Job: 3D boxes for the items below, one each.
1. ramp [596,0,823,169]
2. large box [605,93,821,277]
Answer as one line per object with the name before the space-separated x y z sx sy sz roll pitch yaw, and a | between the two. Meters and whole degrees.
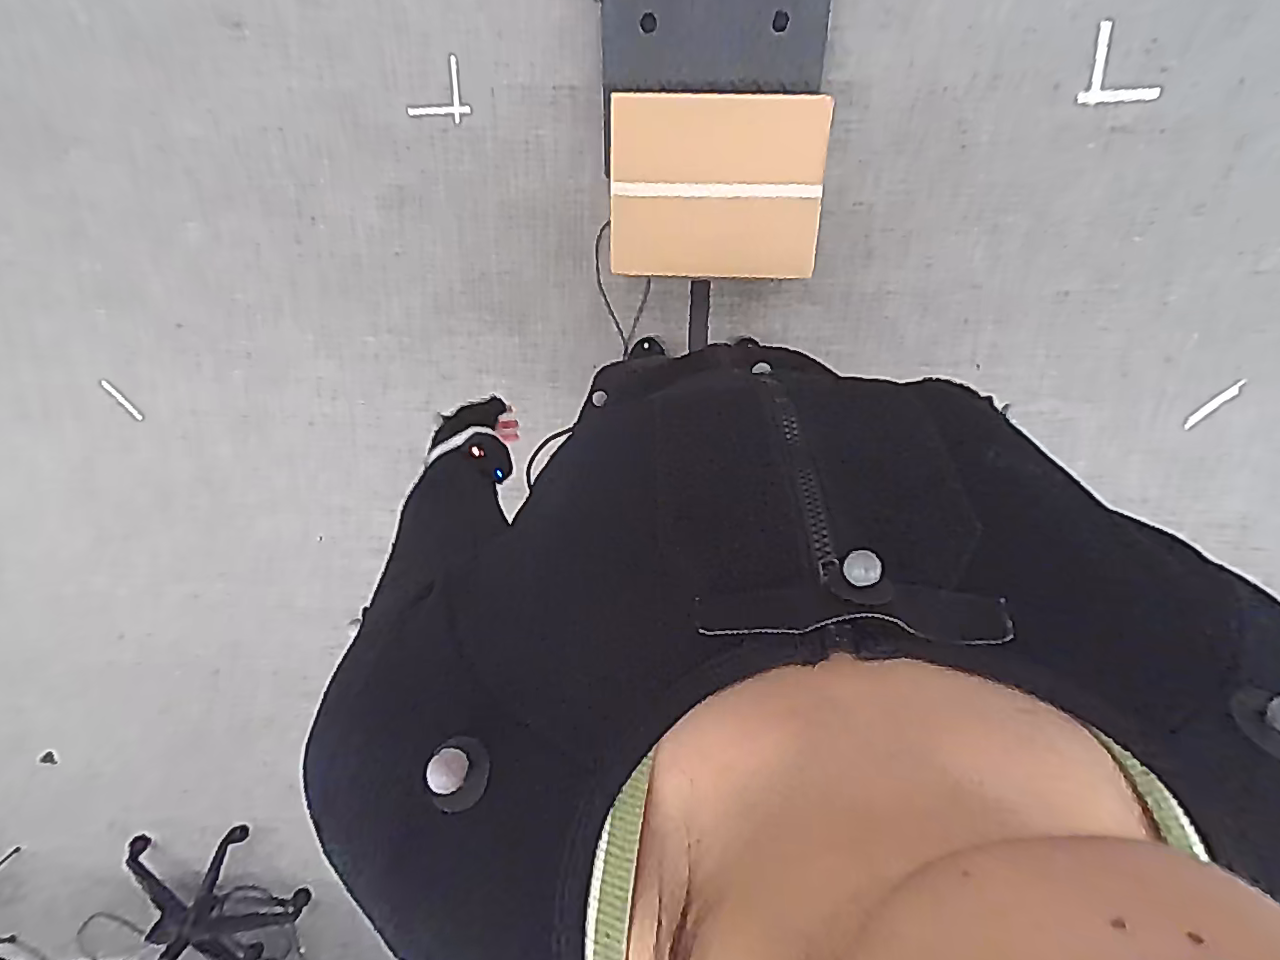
ramp | 0.150 -1.195 1.084 0.509 0.206 0.991 -1 106 1
large box | 0.140 -0.612 1.179 0.408 0.320 0.320 2 109 2
